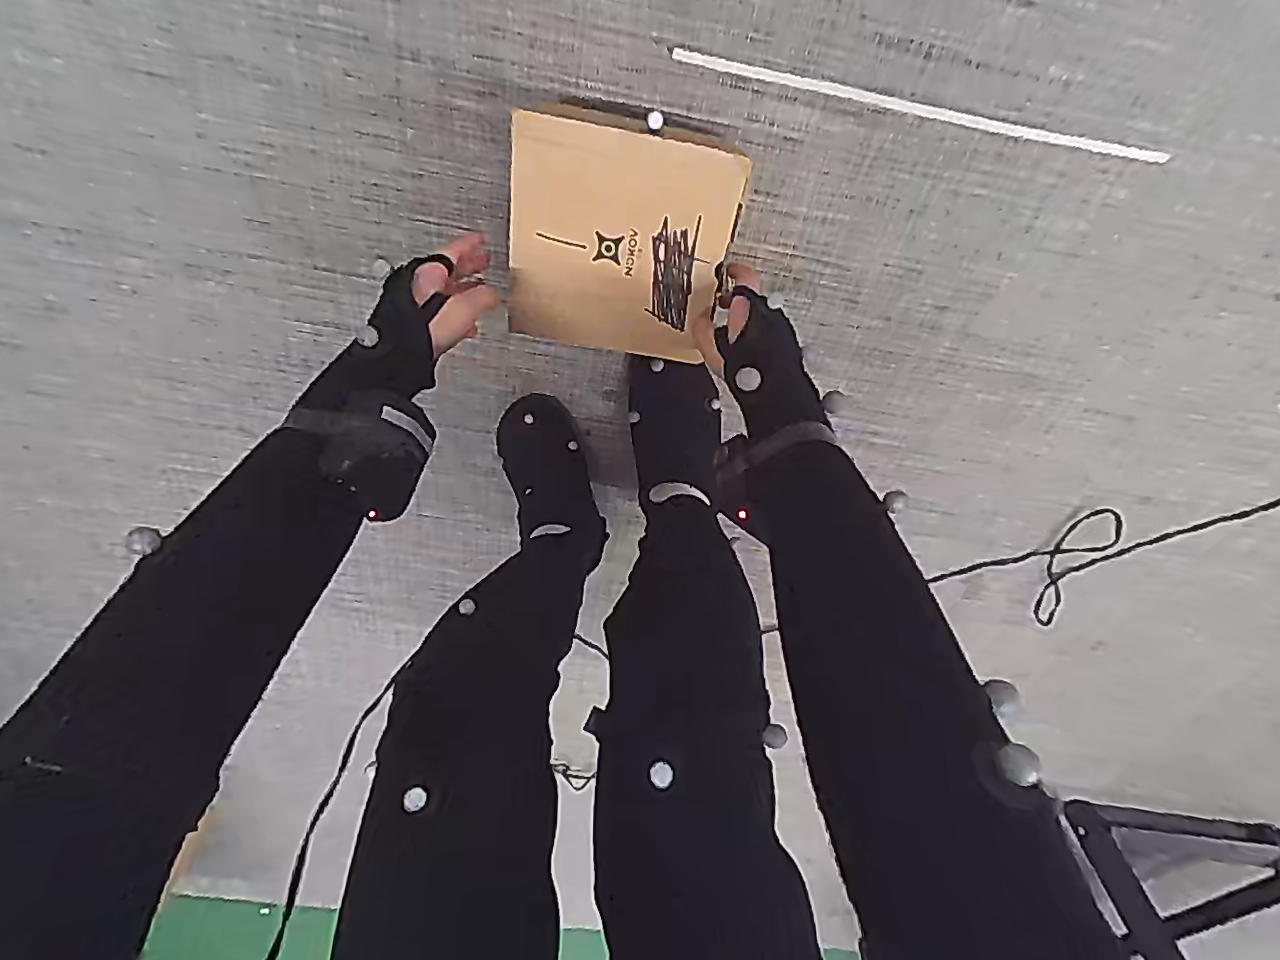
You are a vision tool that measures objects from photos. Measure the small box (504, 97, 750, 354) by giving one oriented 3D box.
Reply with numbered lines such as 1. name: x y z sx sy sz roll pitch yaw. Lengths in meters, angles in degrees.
1. small box: -0.016 -0.236 0.492 0.179 0.176 0.168 9 125 -4
